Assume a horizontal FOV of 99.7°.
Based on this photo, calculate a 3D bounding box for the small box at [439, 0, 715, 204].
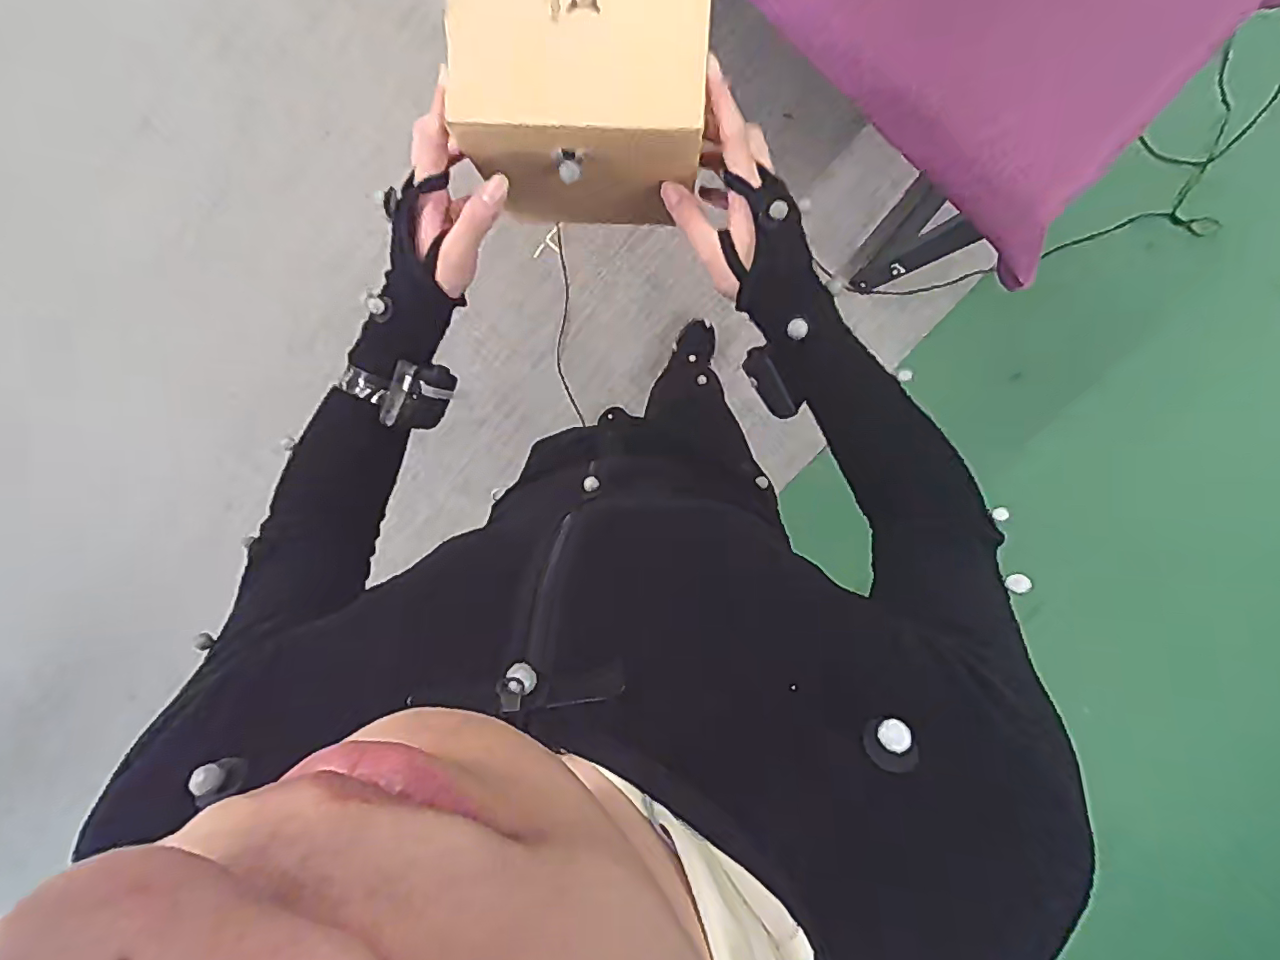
[{"bbox_3d":[-0.034,-0.331,0.416,0.179,0.176,0.168,3,96,4],"label":"small box"}]
